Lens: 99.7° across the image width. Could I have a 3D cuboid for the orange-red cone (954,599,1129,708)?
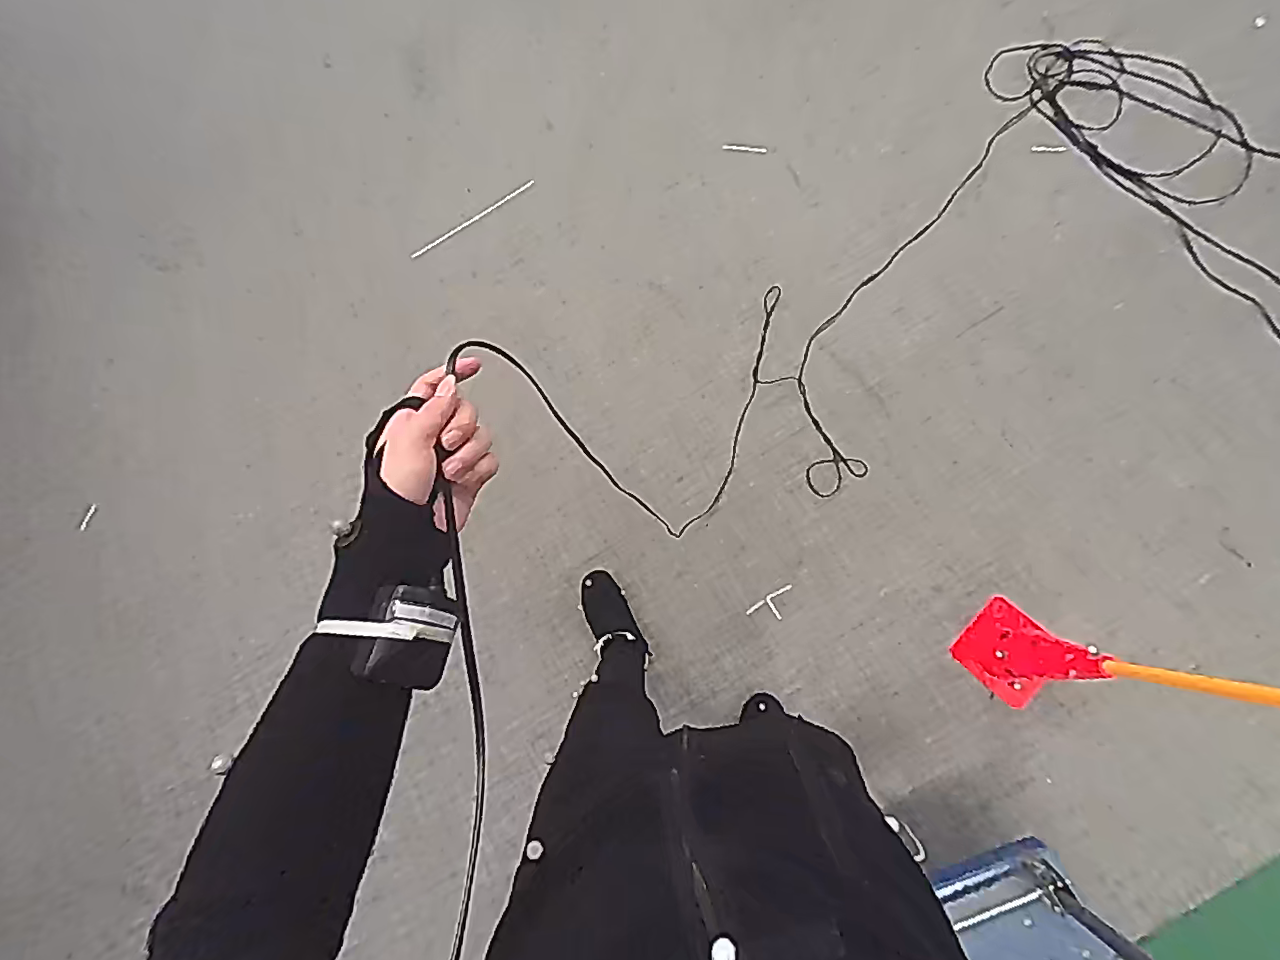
[{"bbox_3d":[0.871,0.374,1.133,0.198,0.360,0.199,43,84,13],"label":"orange-red cone"}]
